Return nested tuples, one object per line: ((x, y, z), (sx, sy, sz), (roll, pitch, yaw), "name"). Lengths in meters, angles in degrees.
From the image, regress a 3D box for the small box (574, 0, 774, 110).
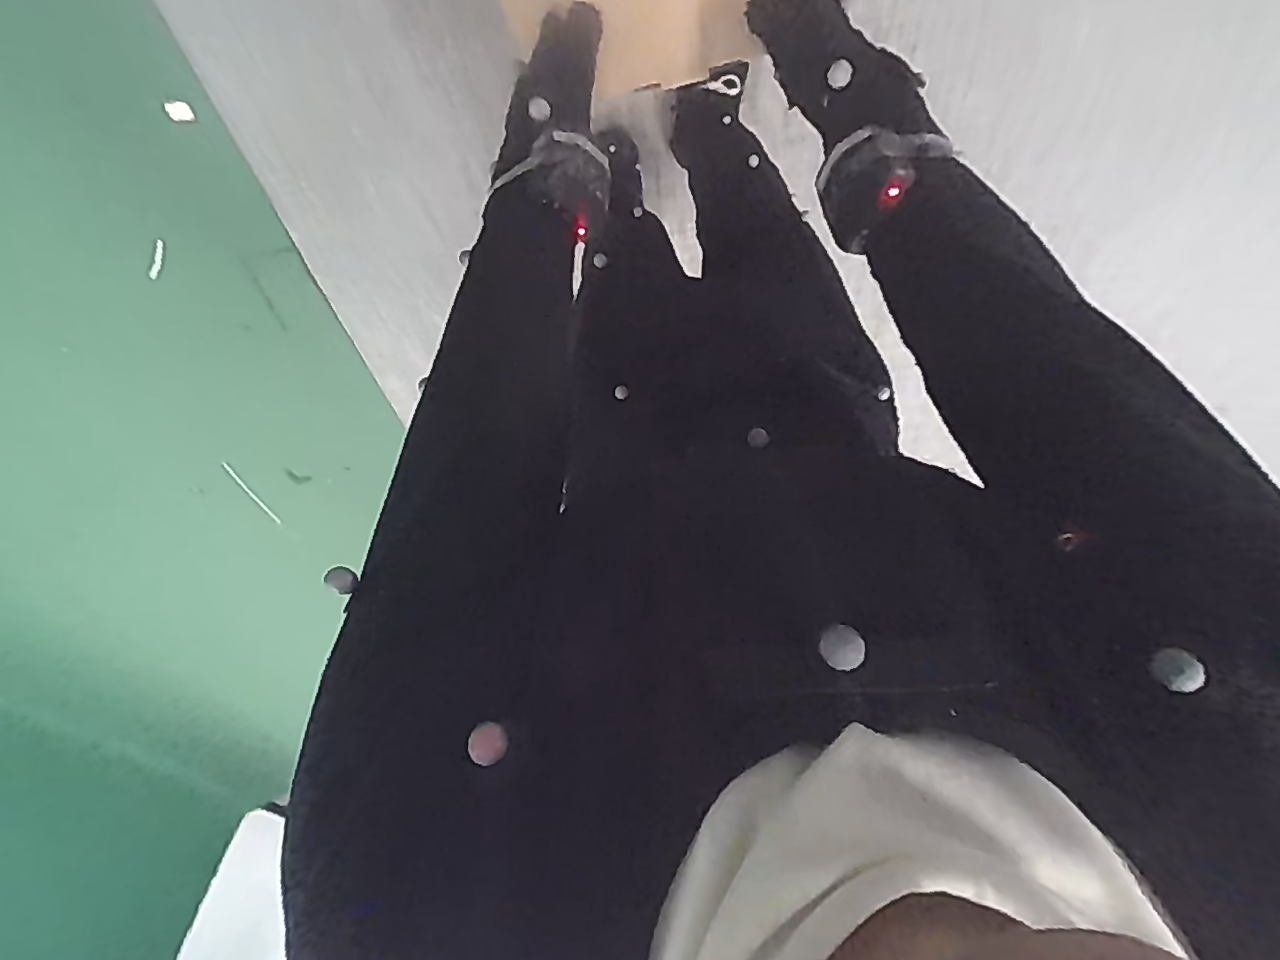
((0.025, -0.475, 0.486), (0.168, 0.176, 0.179), (-8, 138, 11), "small box")
